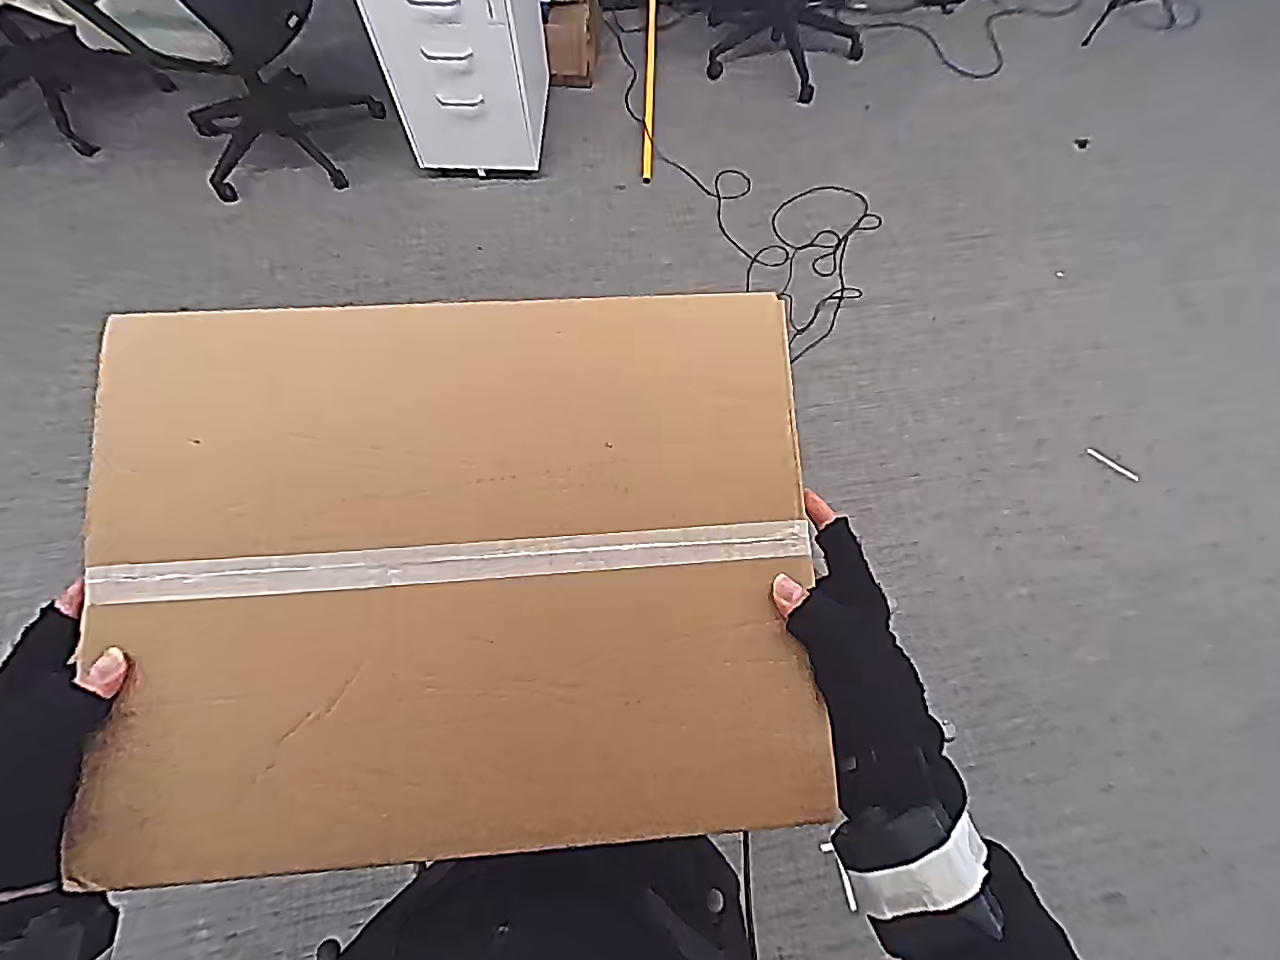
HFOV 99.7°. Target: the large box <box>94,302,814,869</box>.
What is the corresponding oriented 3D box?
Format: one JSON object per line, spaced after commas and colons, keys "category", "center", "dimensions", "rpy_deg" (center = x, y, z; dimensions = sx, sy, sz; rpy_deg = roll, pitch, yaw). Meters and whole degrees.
{"category": "large box", "center": [-0.111, 0.066, 0.468], "dimensions": [0.408, 0.320, 0.320], "rpy_deg": [-3, 81, -4]}
